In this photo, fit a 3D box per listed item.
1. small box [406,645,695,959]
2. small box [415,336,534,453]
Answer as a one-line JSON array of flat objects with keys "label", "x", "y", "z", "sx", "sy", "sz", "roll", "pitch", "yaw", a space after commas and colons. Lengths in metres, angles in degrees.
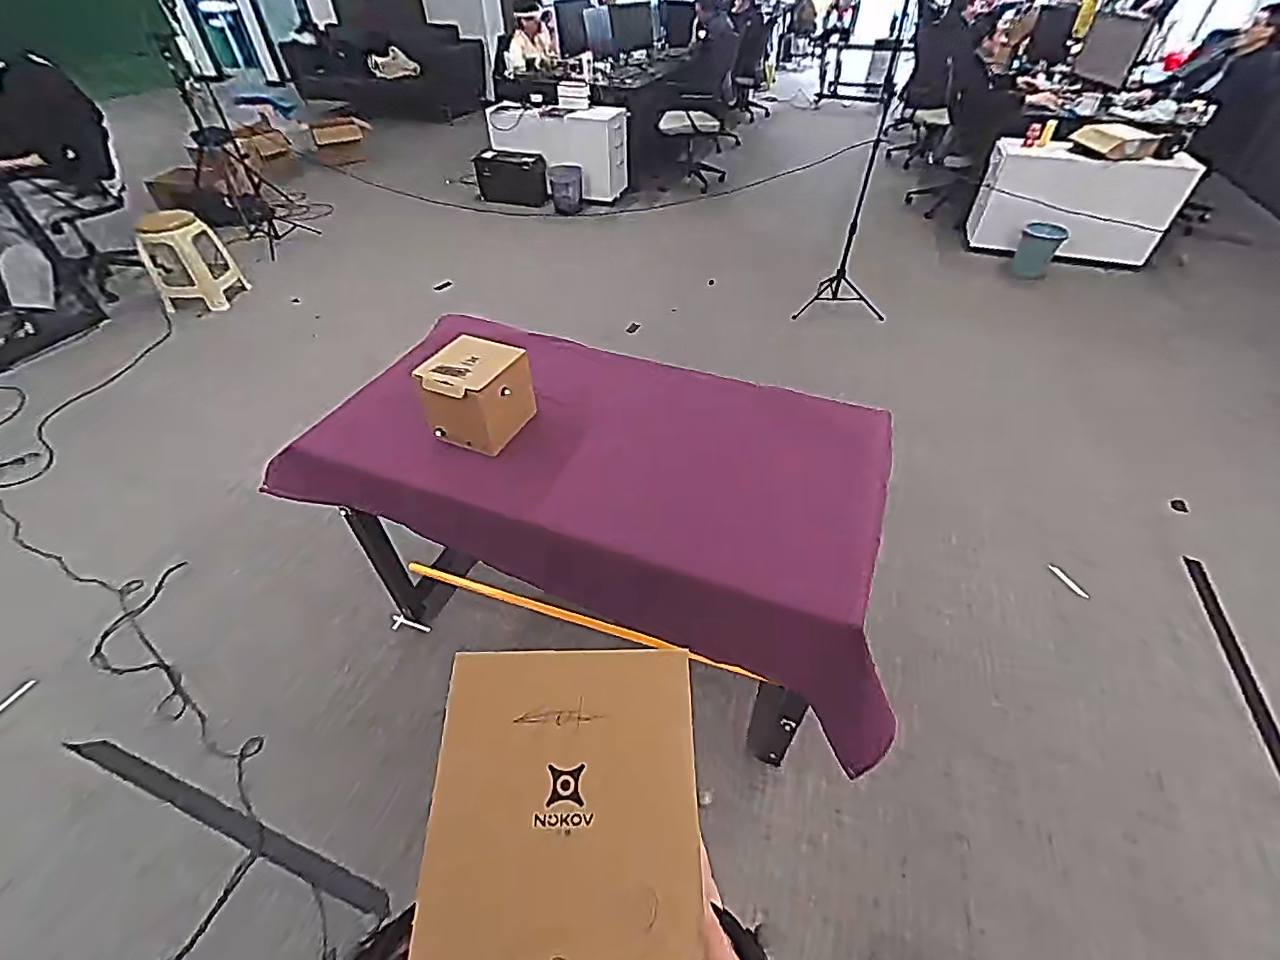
[{"label": "small box", "x": -0.050, "y": 0.233, "z": 0.408, "sx": 0.168, "sy": 0.176, "sz": 0.179, "roll": 0, "pitch": 59, "yaw": -1}, {"label": "small box", "x": -0.345, "y": -0.184, "z": 1.171, "sx": 0.168, "sy": 0.176, "sz": 0.179, "roll": 17, "pitch": 46, "yaw": 16}]
